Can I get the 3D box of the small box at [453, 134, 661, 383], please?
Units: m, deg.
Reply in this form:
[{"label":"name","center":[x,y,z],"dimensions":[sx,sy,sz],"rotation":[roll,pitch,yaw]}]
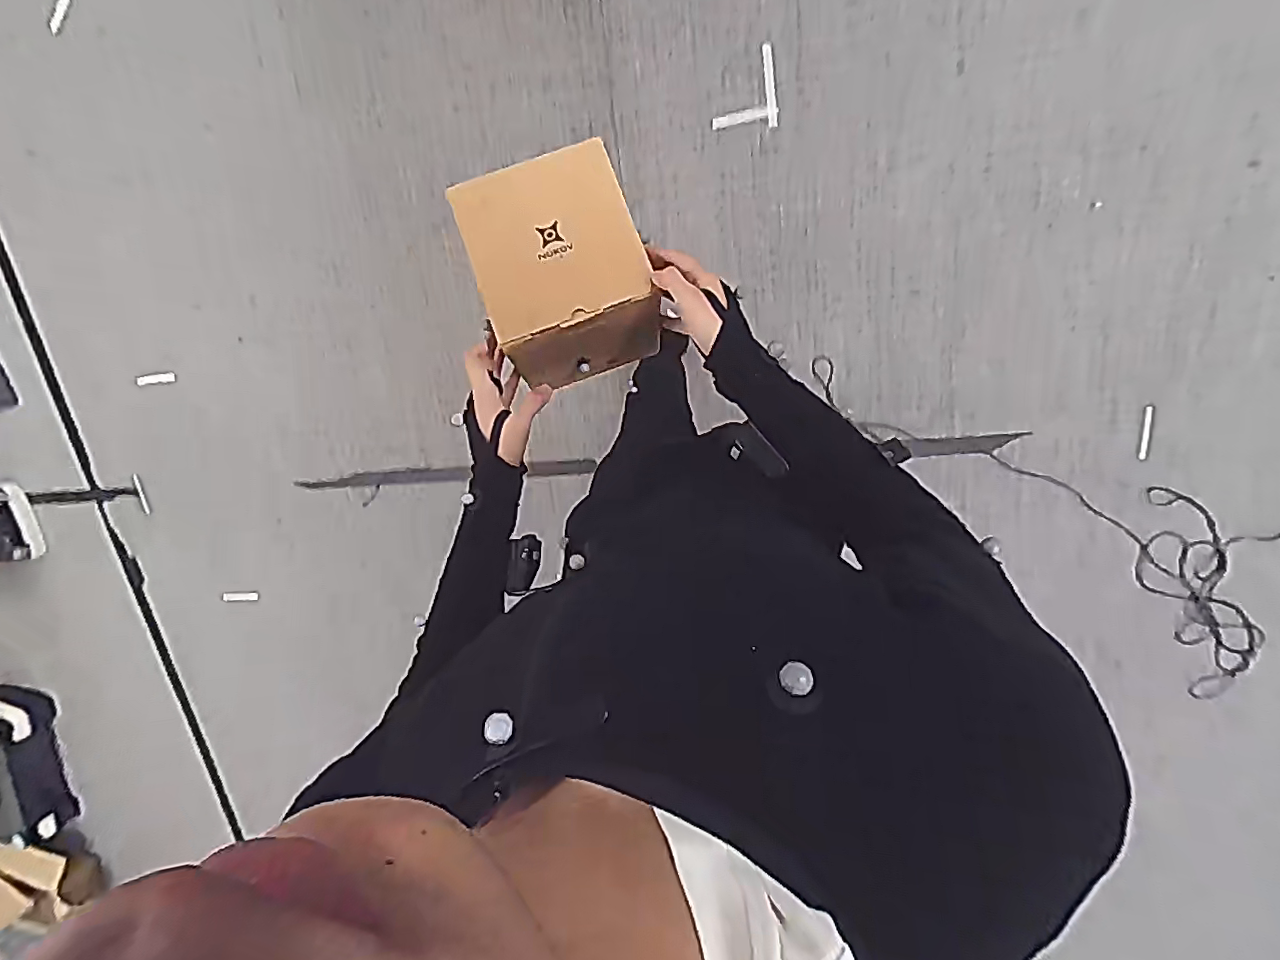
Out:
[{"label":"small box","center":[-0.085,-0.234,0.611],"dimensions":[0.168,0.176,0.179],"rotation":[-20,84,-2]}]
